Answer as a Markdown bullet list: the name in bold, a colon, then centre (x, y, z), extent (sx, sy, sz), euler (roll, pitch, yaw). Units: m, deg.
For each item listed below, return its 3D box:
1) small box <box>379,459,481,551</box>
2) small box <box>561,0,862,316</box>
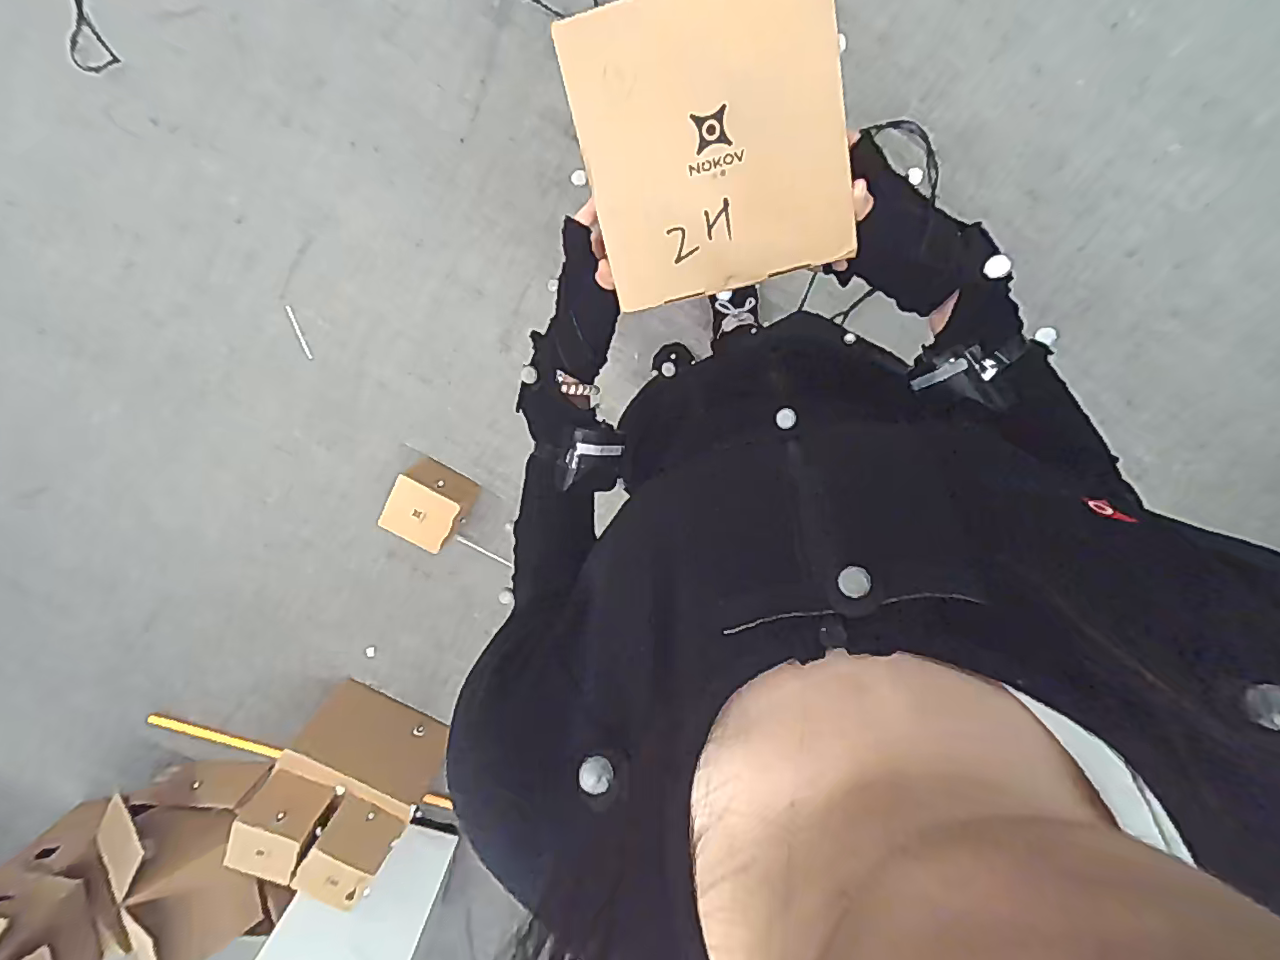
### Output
- **small box**: centre (-0.566, 0.060, 1.476), extent (0.179, 0.176, 0.168), euler (29, 107, -7)
- **small box**: centre (0.053, -0.236, 0.410), extent (0.168, 0.176, 0.179), euler (-11, 112, 8)
